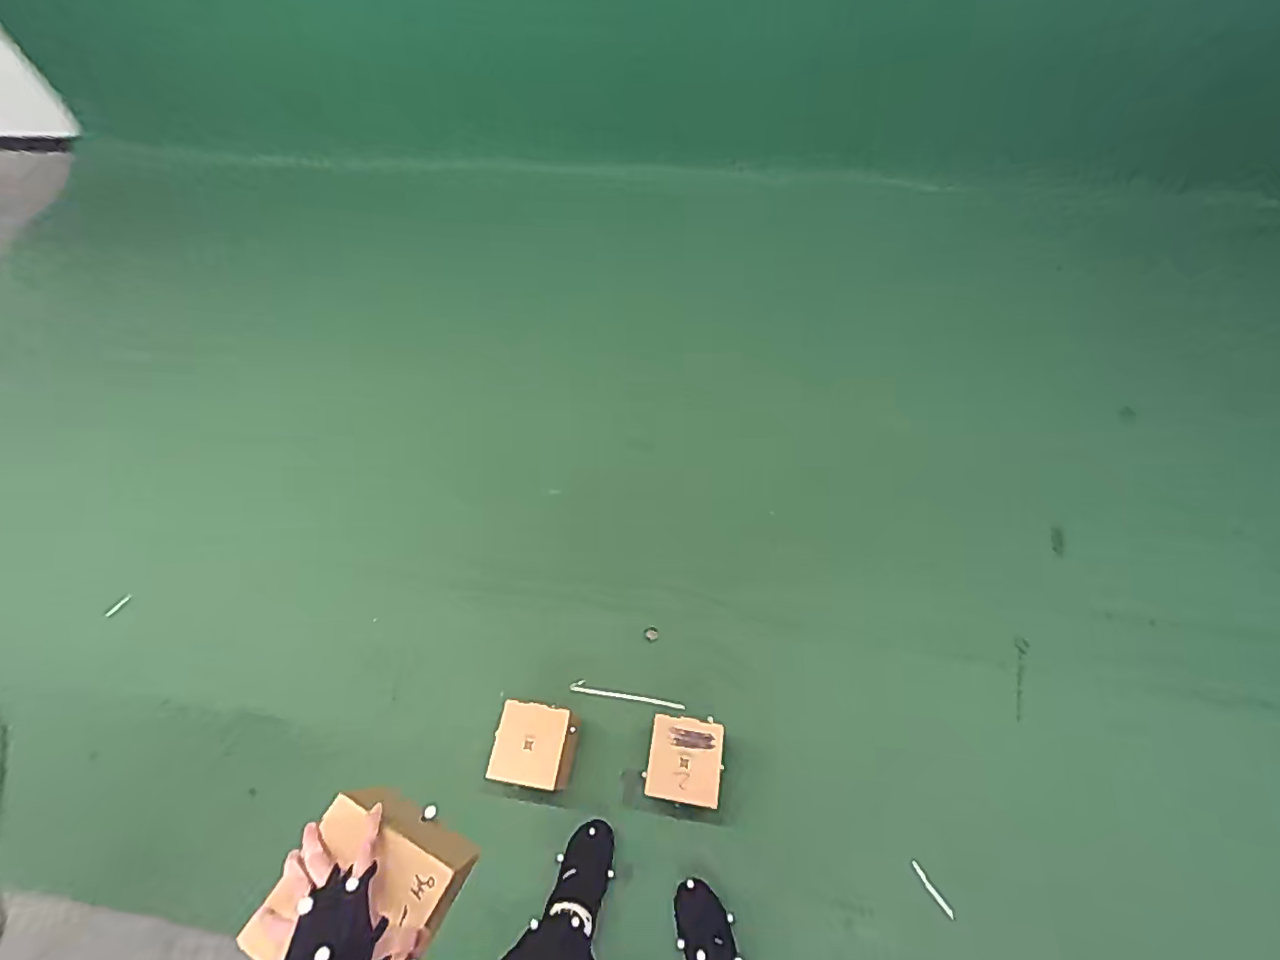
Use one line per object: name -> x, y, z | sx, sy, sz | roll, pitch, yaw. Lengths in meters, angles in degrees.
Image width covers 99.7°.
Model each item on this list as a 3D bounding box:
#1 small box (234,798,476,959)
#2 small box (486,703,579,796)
small box -> -0.335, 0.525, 0.677 | 0.179, 0.176, 0.168 | 27, 65, 9
small box -> -0.257, 0.672, 1.345 | 0.168, 0.176, 0.179 | 7, 60, 8
